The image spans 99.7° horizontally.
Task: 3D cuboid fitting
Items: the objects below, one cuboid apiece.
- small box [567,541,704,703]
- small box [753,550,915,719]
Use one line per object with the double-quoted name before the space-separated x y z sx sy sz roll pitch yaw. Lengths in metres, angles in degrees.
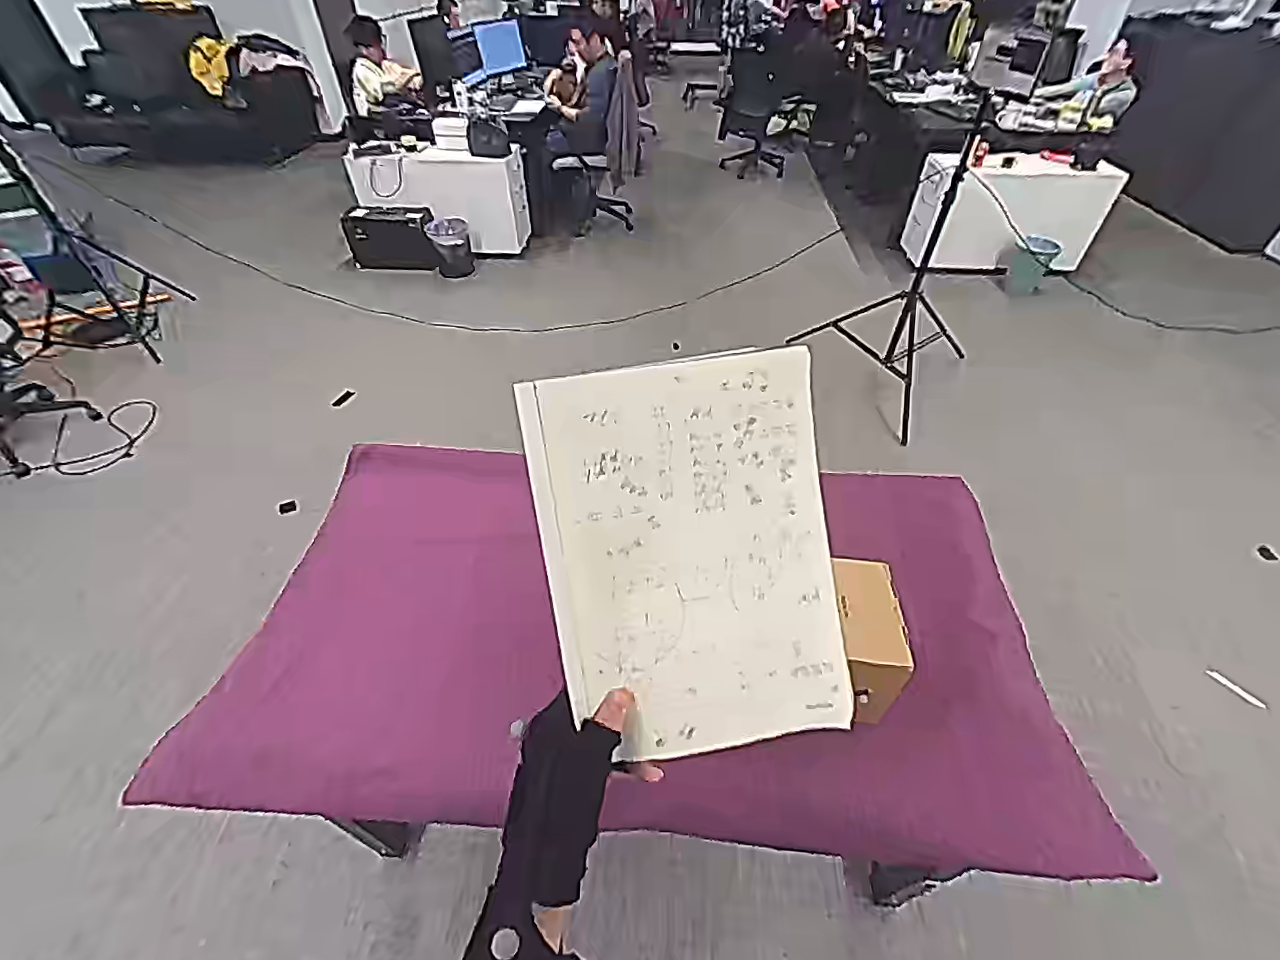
"small box" -0.002 0.210 0.792 0.179 0.176 0.168 3 44 3
"small box" 0.263 0.223 0.778 0.179 0.176 0.168 3 42 6
